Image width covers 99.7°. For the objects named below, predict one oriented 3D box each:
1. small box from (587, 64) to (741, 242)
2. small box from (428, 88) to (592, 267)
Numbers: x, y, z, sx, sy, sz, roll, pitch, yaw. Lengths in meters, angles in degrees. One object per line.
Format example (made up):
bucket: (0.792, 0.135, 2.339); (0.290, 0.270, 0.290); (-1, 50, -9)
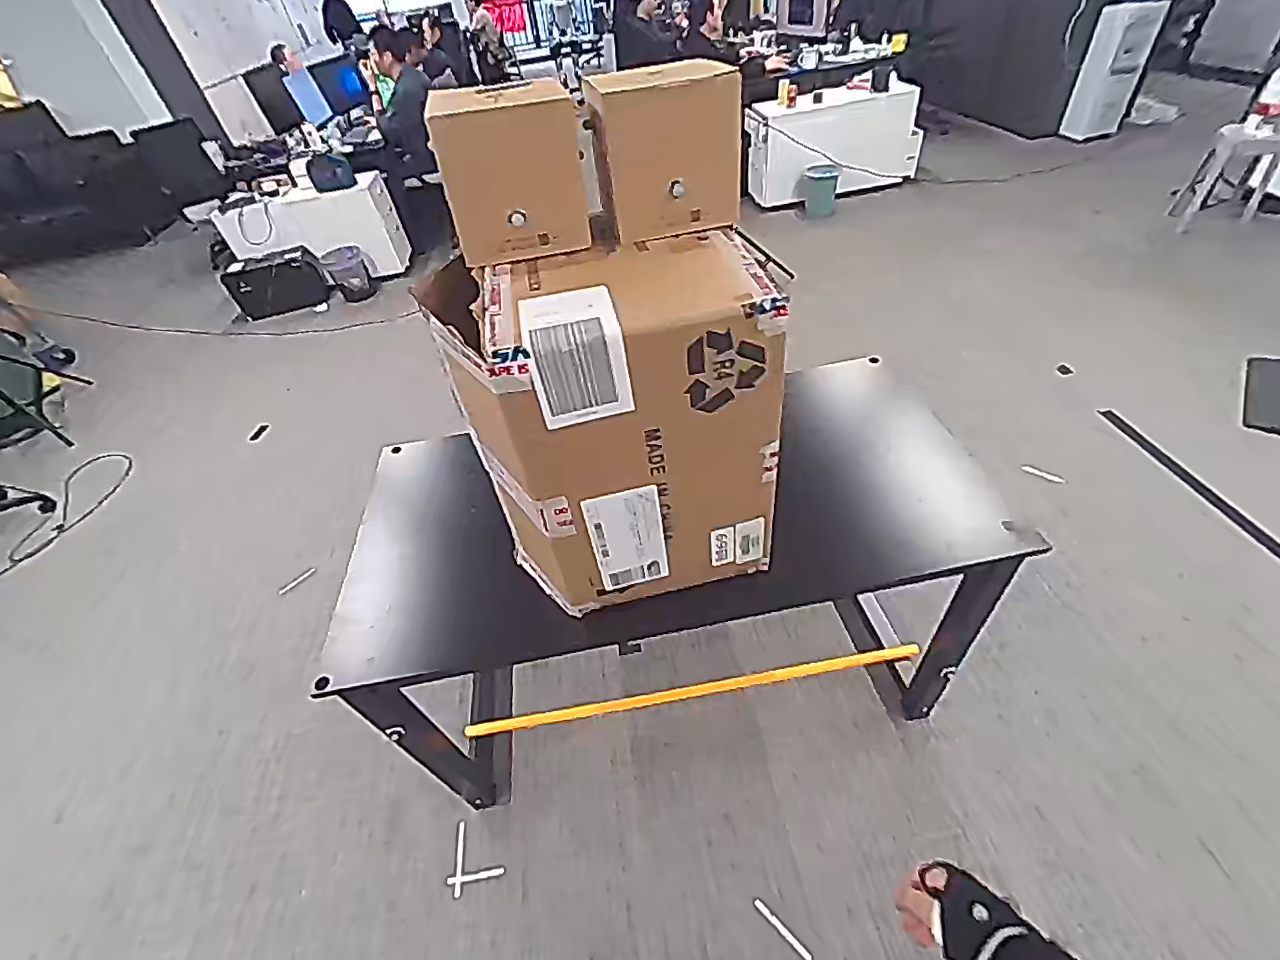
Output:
small box: (0.029, -0.440, 0.729); (0.168, 0.176, 0.179); (-13, 43, -4)
small box: (-0.165, -0.400, 0.714); (0.168, 0.176, 0.179); (-13, 42, -7)
